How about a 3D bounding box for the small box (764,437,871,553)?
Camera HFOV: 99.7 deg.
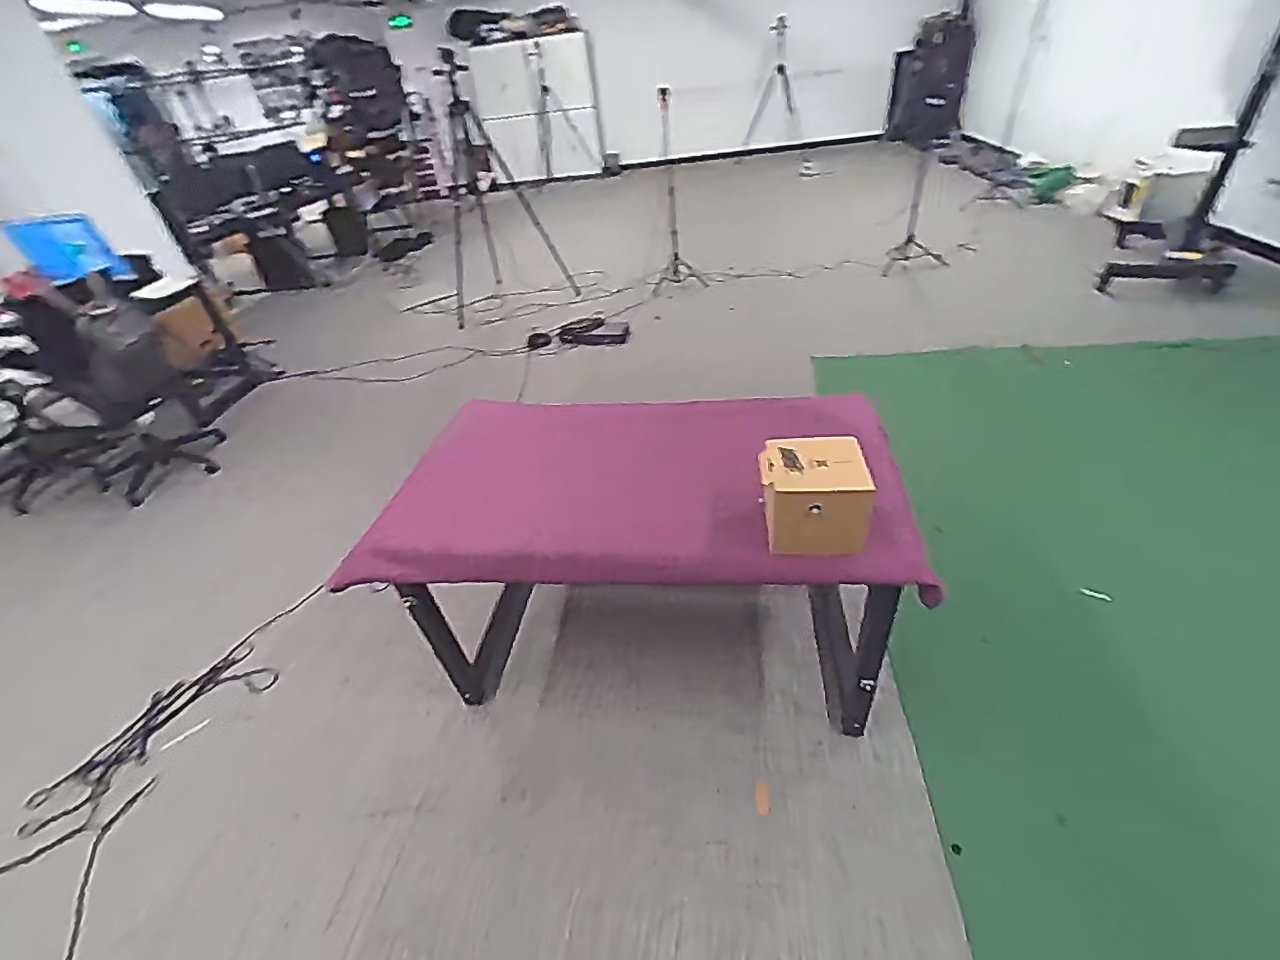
[{"bbox_3d":[0.341,0.032,1.072,0.179,0.176,0.168,-2,39,8],"label":"small box"}]
